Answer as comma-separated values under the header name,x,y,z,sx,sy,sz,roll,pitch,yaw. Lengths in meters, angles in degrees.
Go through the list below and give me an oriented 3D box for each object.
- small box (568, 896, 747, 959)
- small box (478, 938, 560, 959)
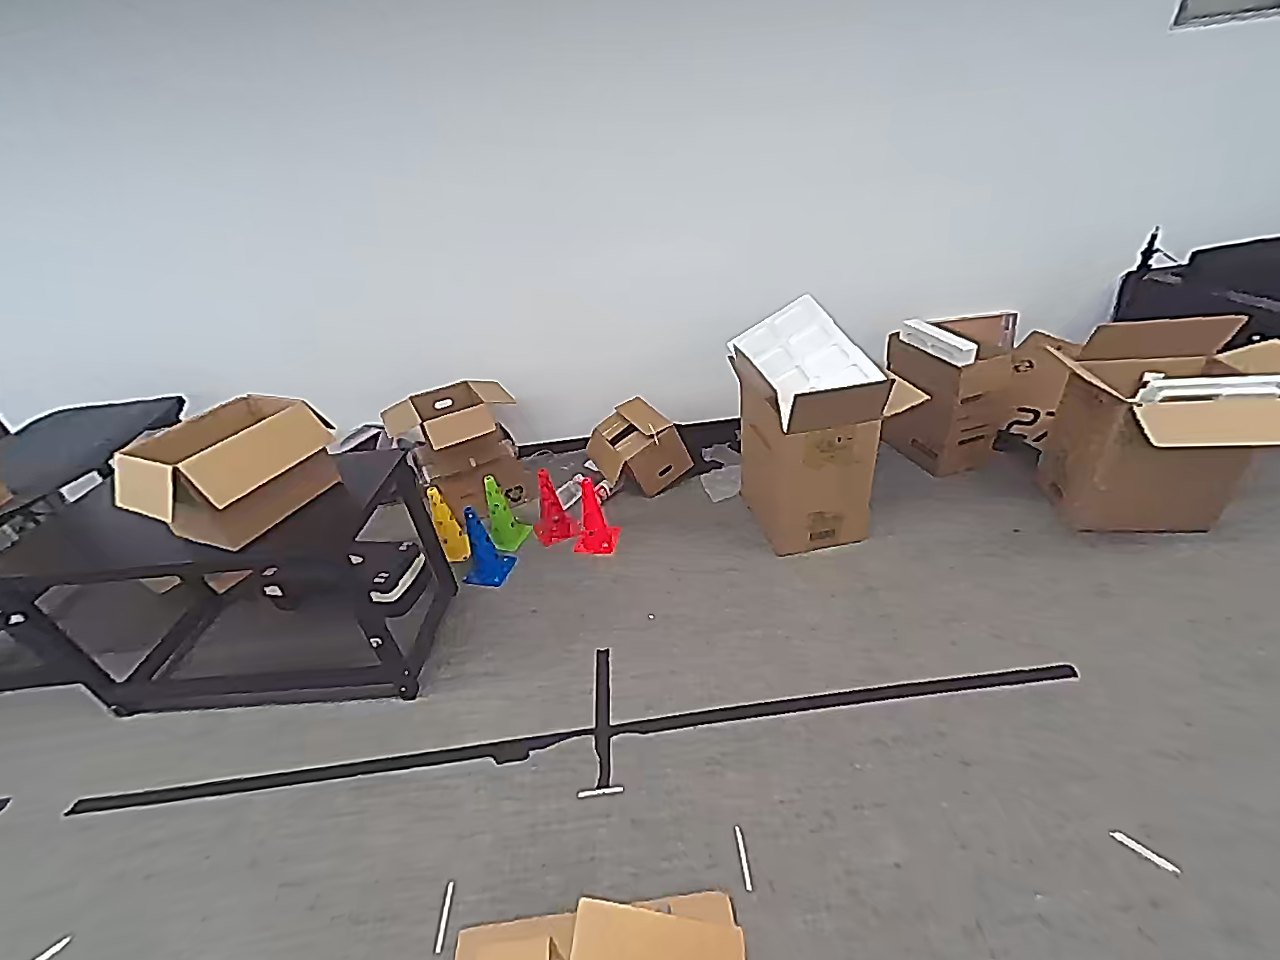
name,x,y,z,sx,sy,sz,roll,pitch,yaw
small box,0.003,0.553,0.537,0.179,0.176,0.168,11,36,-1
small box,-0.262,1.149,1.180,0.168,0.176,0.179,-9,33,-1
